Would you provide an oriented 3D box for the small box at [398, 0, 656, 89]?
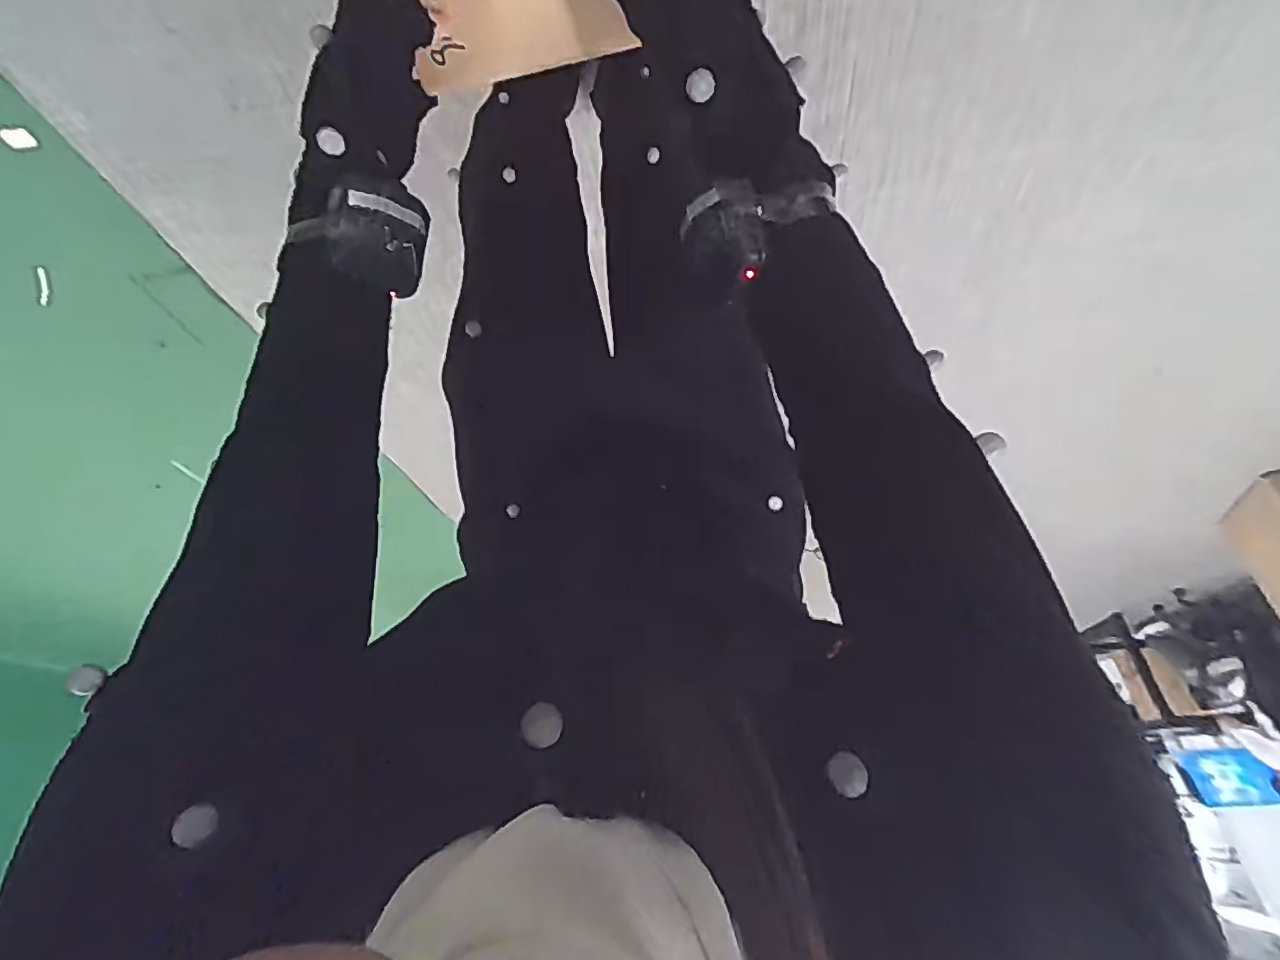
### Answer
[{"bbox_3d":[-0.094,-0.420,0.394,0.179,0.176,0.168,-11,138,3],"label":"small box"}]
